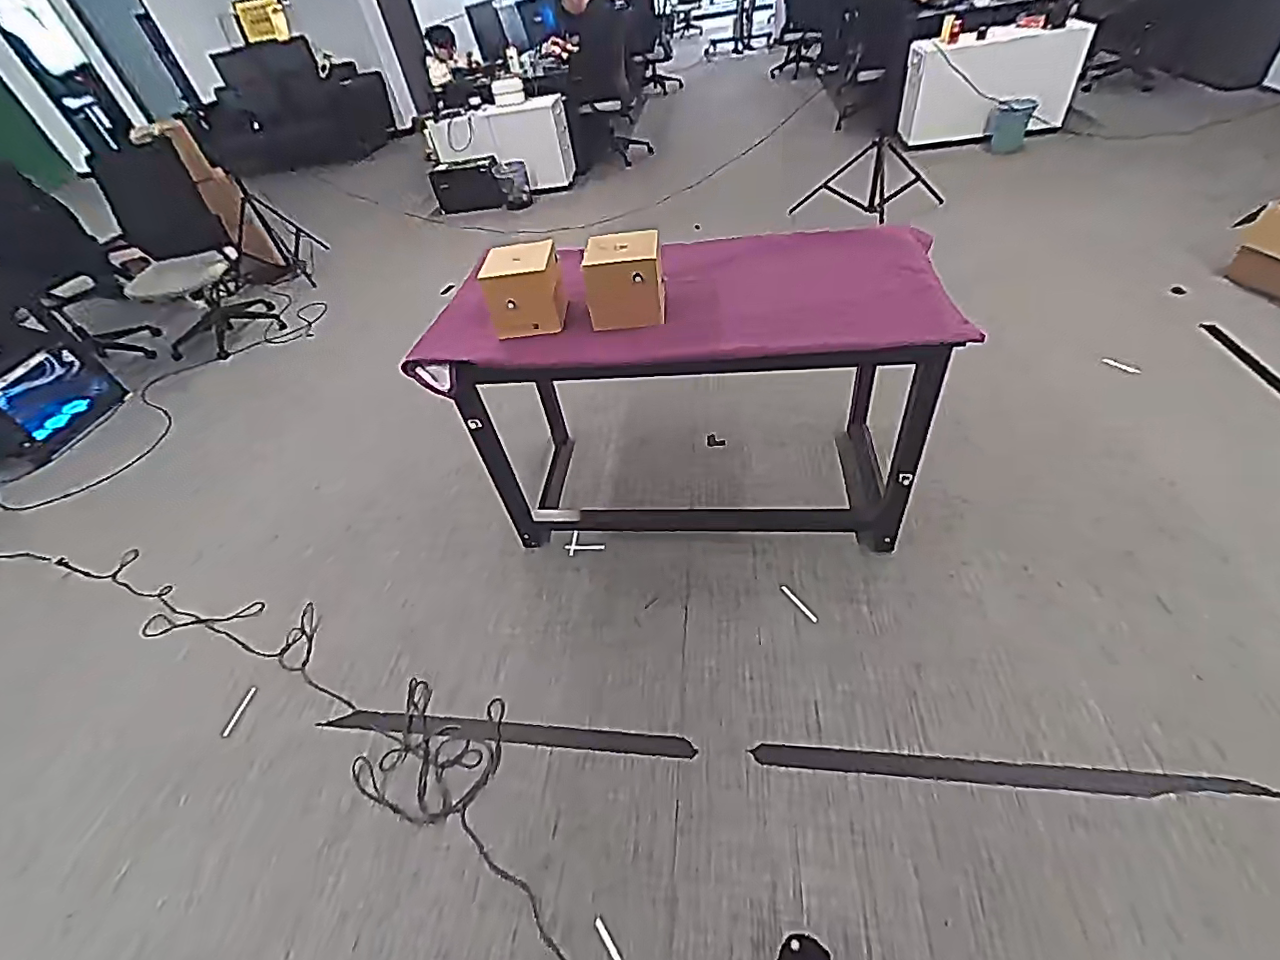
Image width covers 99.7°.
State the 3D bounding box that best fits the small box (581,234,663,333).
[{"bbox_3d":[-0.036,-0.480,1.328,0.179,0.176,0.168,-4,44,7],"label":"small box"}]

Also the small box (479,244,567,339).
[{"bbox_3d":[-0.288,-0.471,1.373,0.168,0.176,0.179,-6,44,5],"label":"small box"}]
